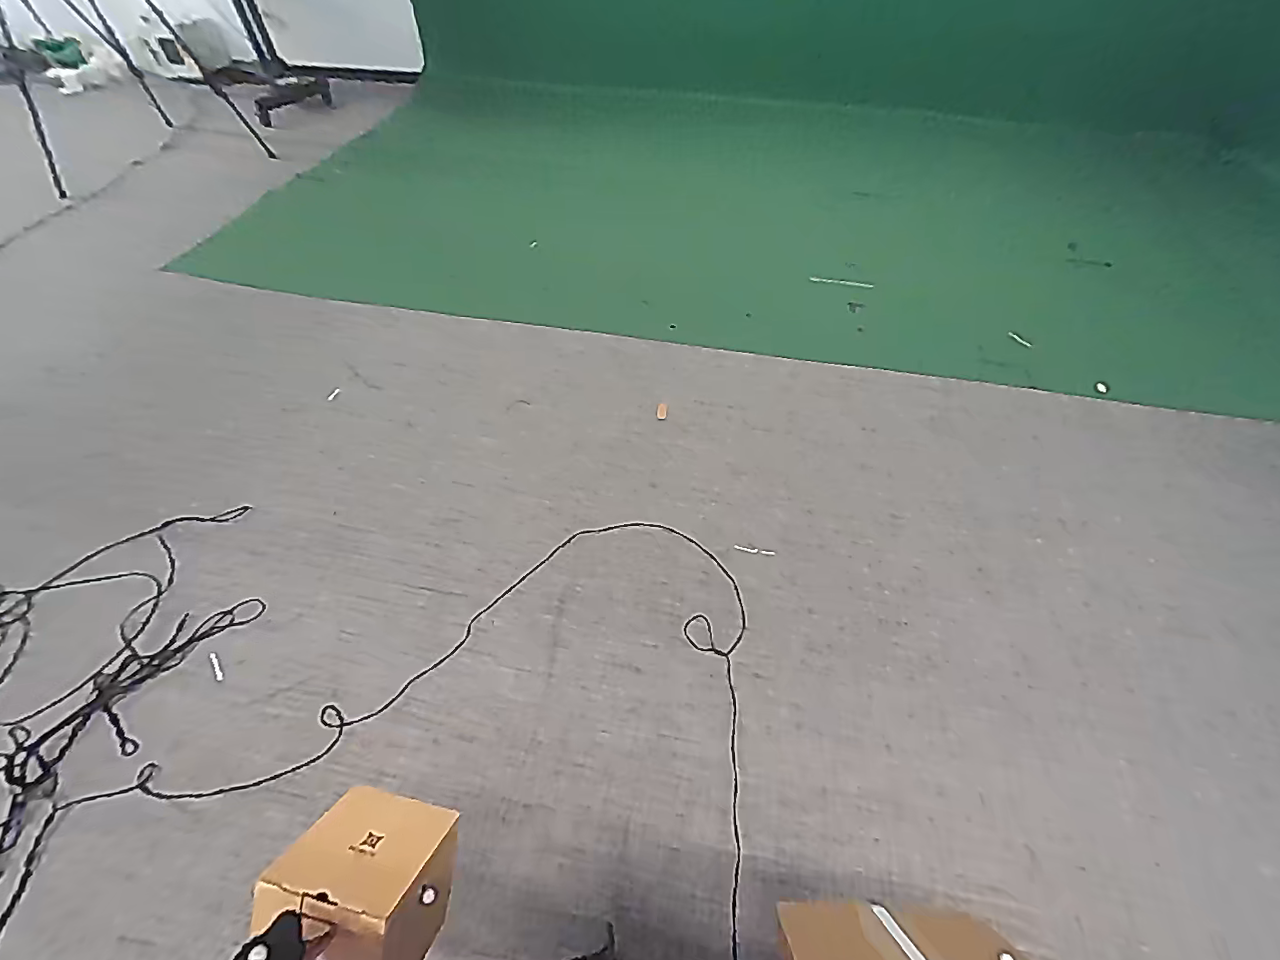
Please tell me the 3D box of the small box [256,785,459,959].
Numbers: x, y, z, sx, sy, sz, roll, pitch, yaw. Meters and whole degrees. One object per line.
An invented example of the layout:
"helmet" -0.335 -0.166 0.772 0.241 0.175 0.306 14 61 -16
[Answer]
"small box" -0.361 0.546 0.701 0.168 0.179 0.176 10 97 8
